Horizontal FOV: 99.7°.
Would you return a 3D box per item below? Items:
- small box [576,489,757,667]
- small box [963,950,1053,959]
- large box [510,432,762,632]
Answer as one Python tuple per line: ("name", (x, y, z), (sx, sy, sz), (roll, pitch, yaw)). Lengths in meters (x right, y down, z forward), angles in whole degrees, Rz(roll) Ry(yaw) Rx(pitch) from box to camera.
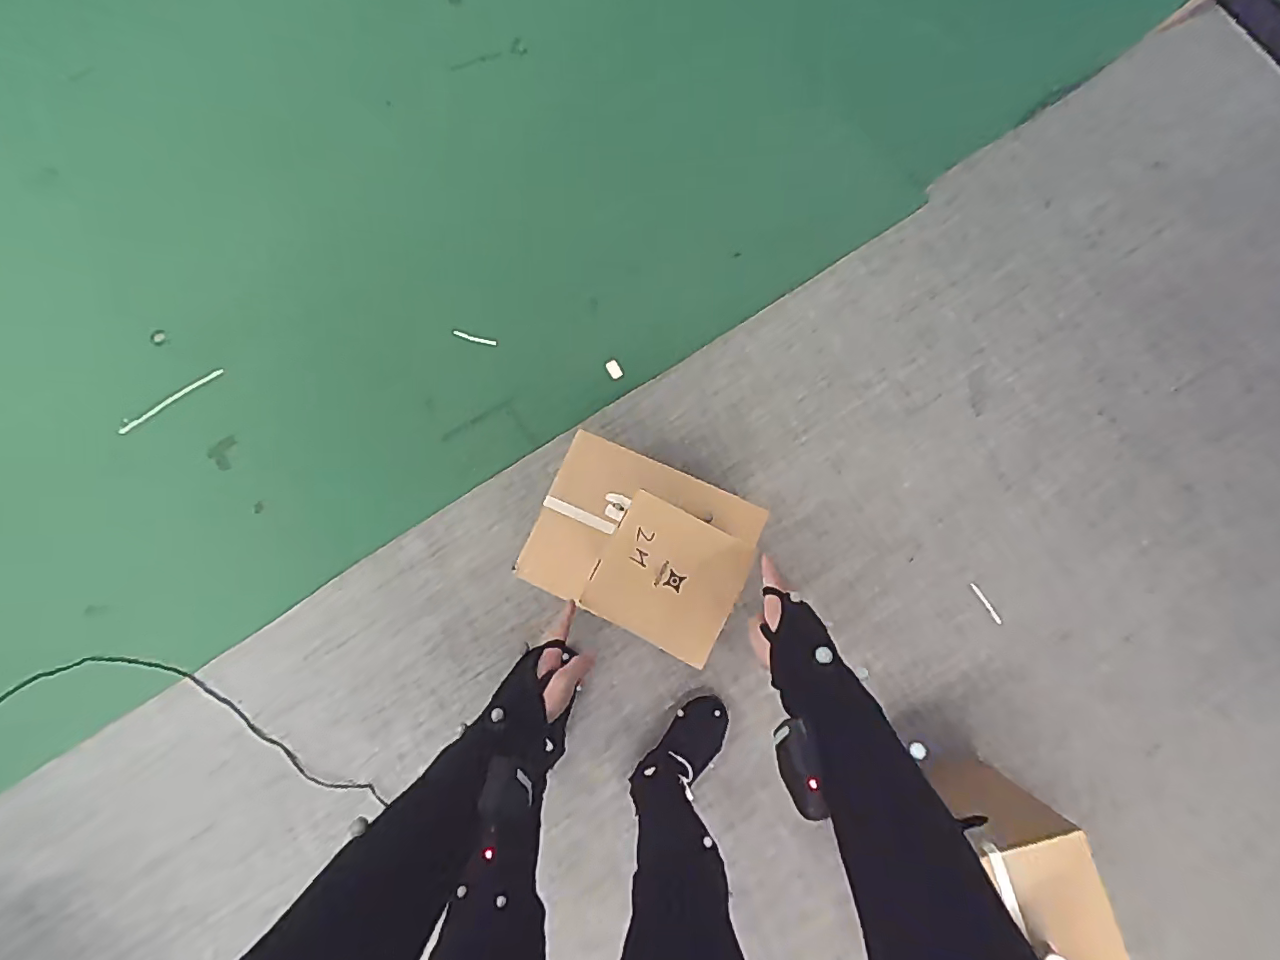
("small box", (0.037, 0.128, 0.752), (0.179, 0.176, 0.168), (28, 85, 6))
("small box", (0.591, 0.849, 0.800), (0.179, 0.176, 0.168), (-13, 83, 4))
("large box", (0.003, 0.137, 1.168), (0.408, 0.320, 0.320), (23, 84, 7))
